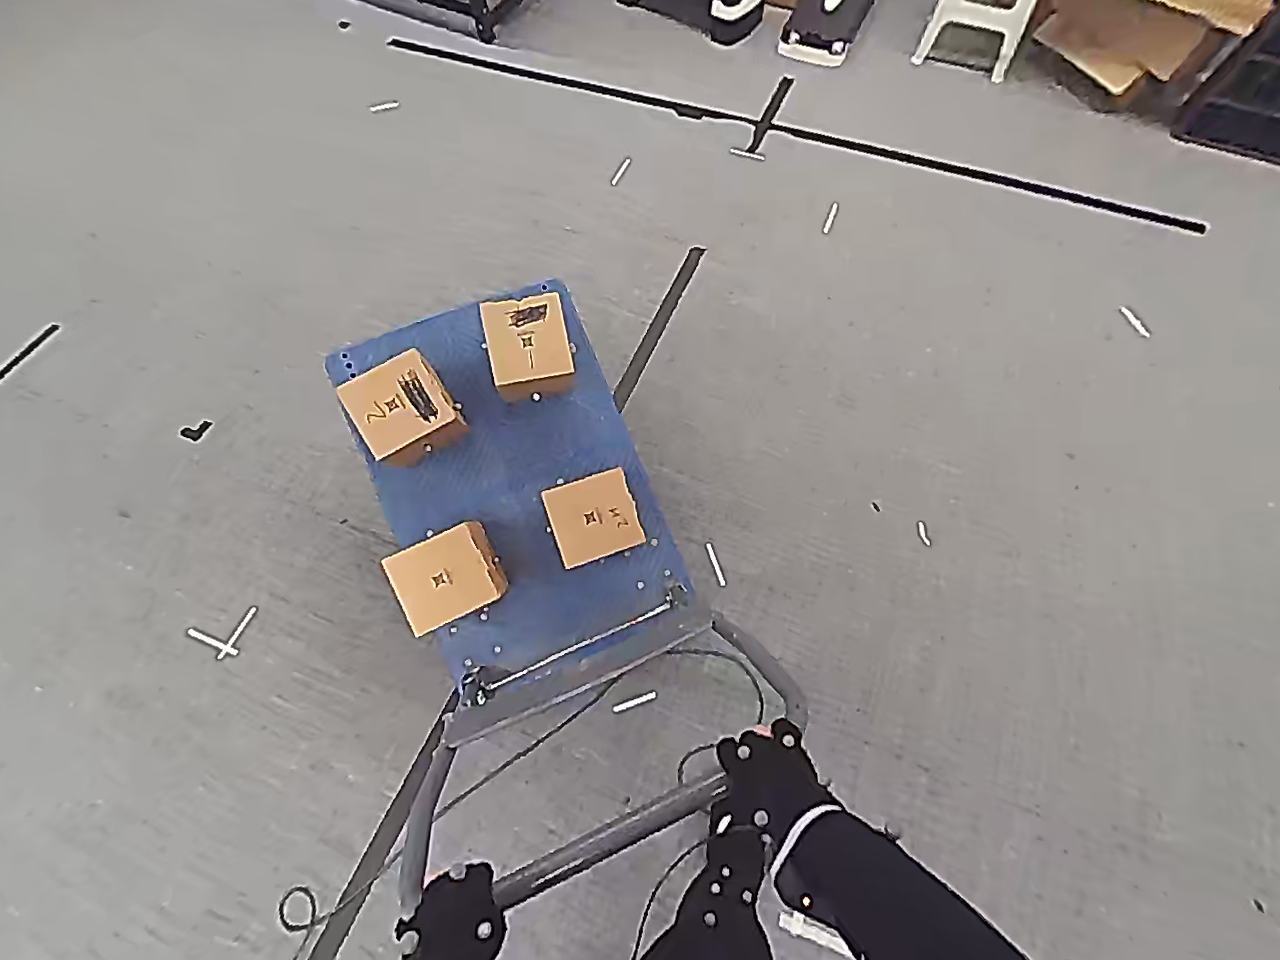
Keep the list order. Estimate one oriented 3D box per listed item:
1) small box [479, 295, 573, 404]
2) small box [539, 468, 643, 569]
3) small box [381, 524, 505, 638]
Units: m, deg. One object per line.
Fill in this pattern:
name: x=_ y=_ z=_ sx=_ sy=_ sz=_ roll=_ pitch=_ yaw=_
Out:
small box: x=-0.246 y=-0.280 z=1.186 sx=0.168 sy=0.176 sz=0.179 roll=-12 pitch=88 yaw=-9
small box: x=-0.107 y=0.084 z=1.172 sx=0.179 sy=0.176 sz=0.168 roll=-18 pitch=88 yaw=-9
small box: x=-0.398 y=0.203 z=1.123 sx=0.179 sy=0.176 sz=0.168 roll=-25 pitch=89 yaw=-11
